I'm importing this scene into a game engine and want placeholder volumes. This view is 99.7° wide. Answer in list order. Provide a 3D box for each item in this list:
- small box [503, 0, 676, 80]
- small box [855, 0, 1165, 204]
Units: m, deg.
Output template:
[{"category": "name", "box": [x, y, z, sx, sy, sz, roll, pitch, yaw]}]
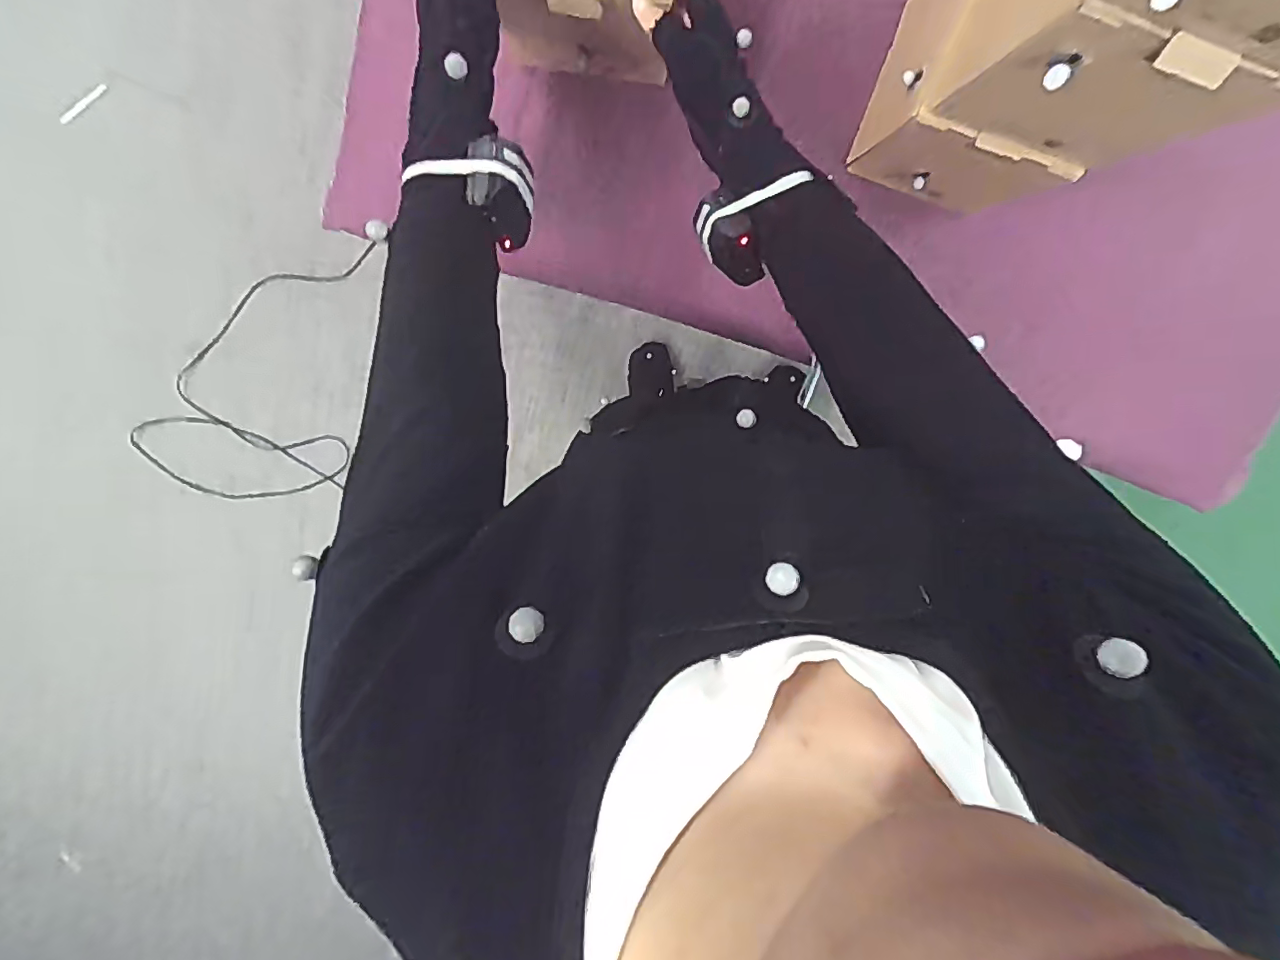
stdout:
[{"category": "small box", "box": [-0.042, -0.512, 0.495, 0.168, 0.176, 0.179, 7, 107, -2]}, {"category": "small box", "box": [0.342, -0.400, 0.532, 0.168, 0.176, 0.179, 17, 107, -5]}]
